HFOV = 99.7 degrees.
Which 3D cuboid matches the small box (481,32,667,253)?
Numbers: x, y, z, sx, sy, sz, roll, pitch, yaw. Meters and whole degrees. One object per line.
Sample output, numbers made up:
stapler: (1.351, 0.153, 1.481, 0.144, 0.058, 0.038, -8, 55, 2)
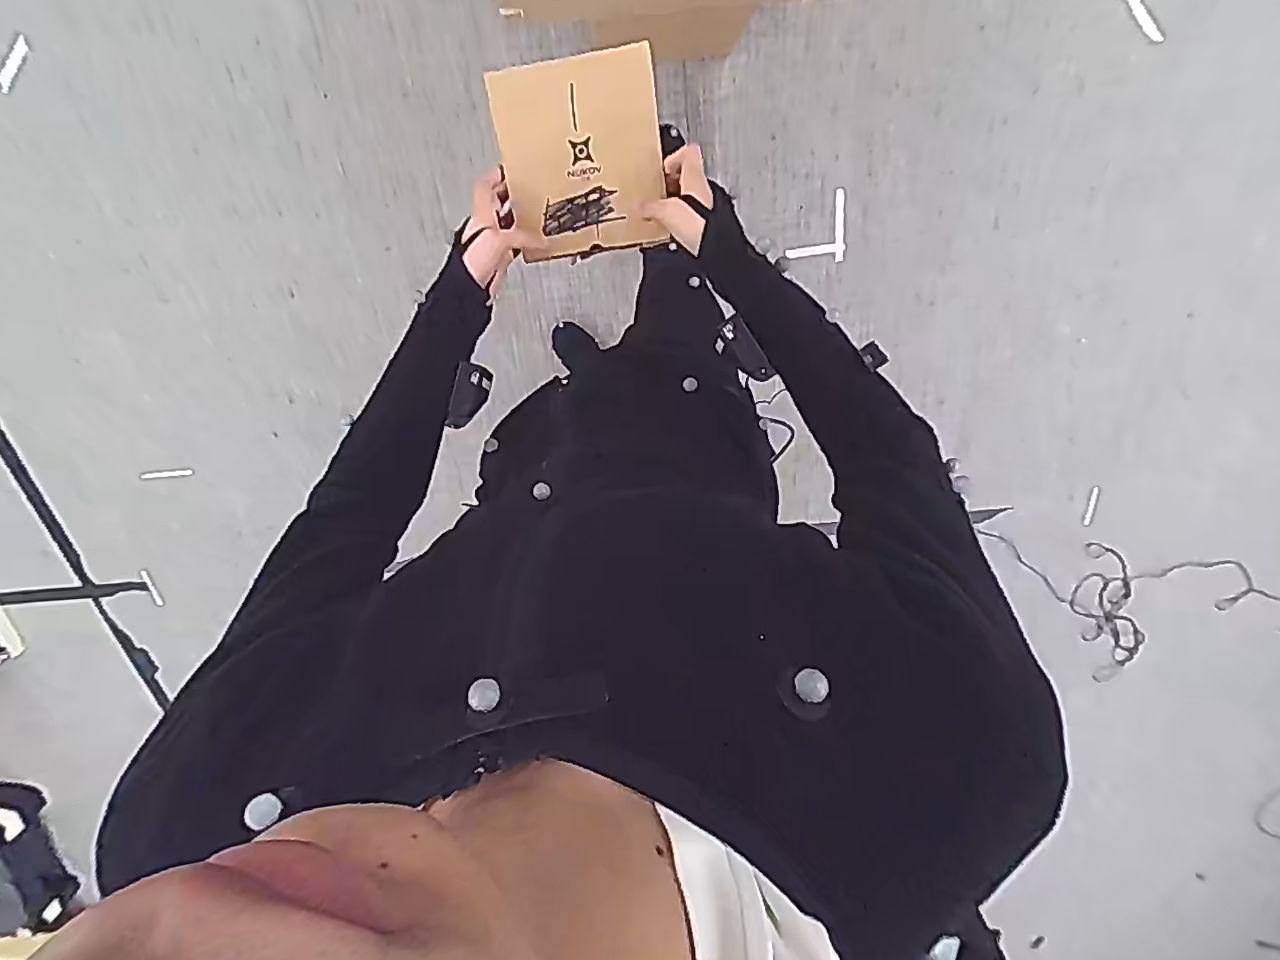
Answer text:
small box: (-0.059, -0.368, 0.618, 0.168, 0.176, 0.179, -6, 115, 5)
